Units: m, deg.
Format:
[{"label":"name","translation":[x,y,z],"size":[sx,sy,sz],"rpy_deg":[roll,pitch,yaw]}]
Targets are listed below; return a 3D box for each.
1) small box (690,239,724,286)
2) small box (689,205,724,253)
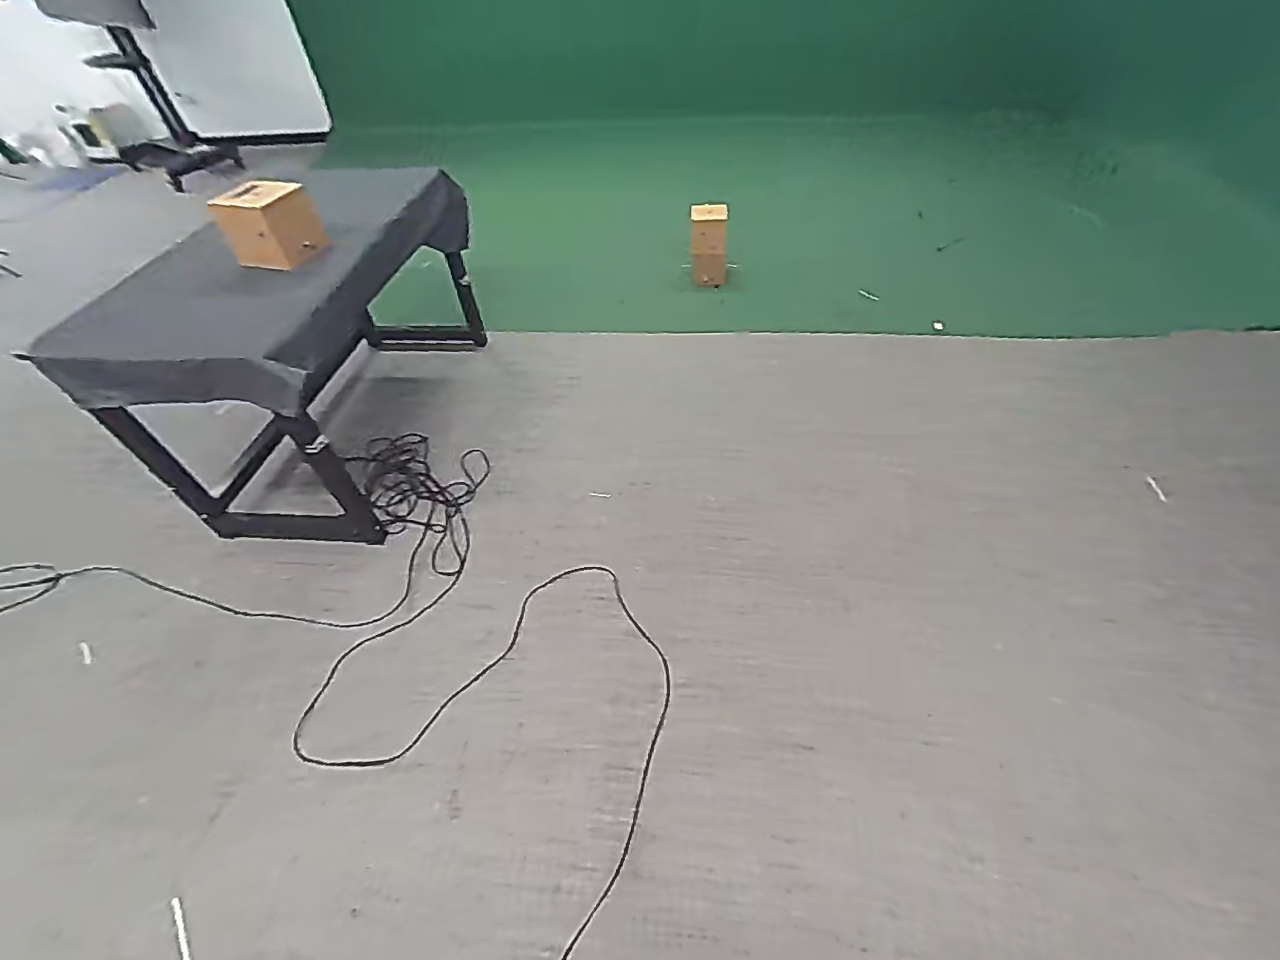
[{"label":"small box","translation":[0.343,-1.113,2.758],"size":[0.168,0.176,0.179],"rpy_deg":[1,48,6]},{"label":"small box","translation":[0.324,-1.220,2.637],"size":[0.168,0.176,0.179],"rpy_deg":[0,47,5]}]
